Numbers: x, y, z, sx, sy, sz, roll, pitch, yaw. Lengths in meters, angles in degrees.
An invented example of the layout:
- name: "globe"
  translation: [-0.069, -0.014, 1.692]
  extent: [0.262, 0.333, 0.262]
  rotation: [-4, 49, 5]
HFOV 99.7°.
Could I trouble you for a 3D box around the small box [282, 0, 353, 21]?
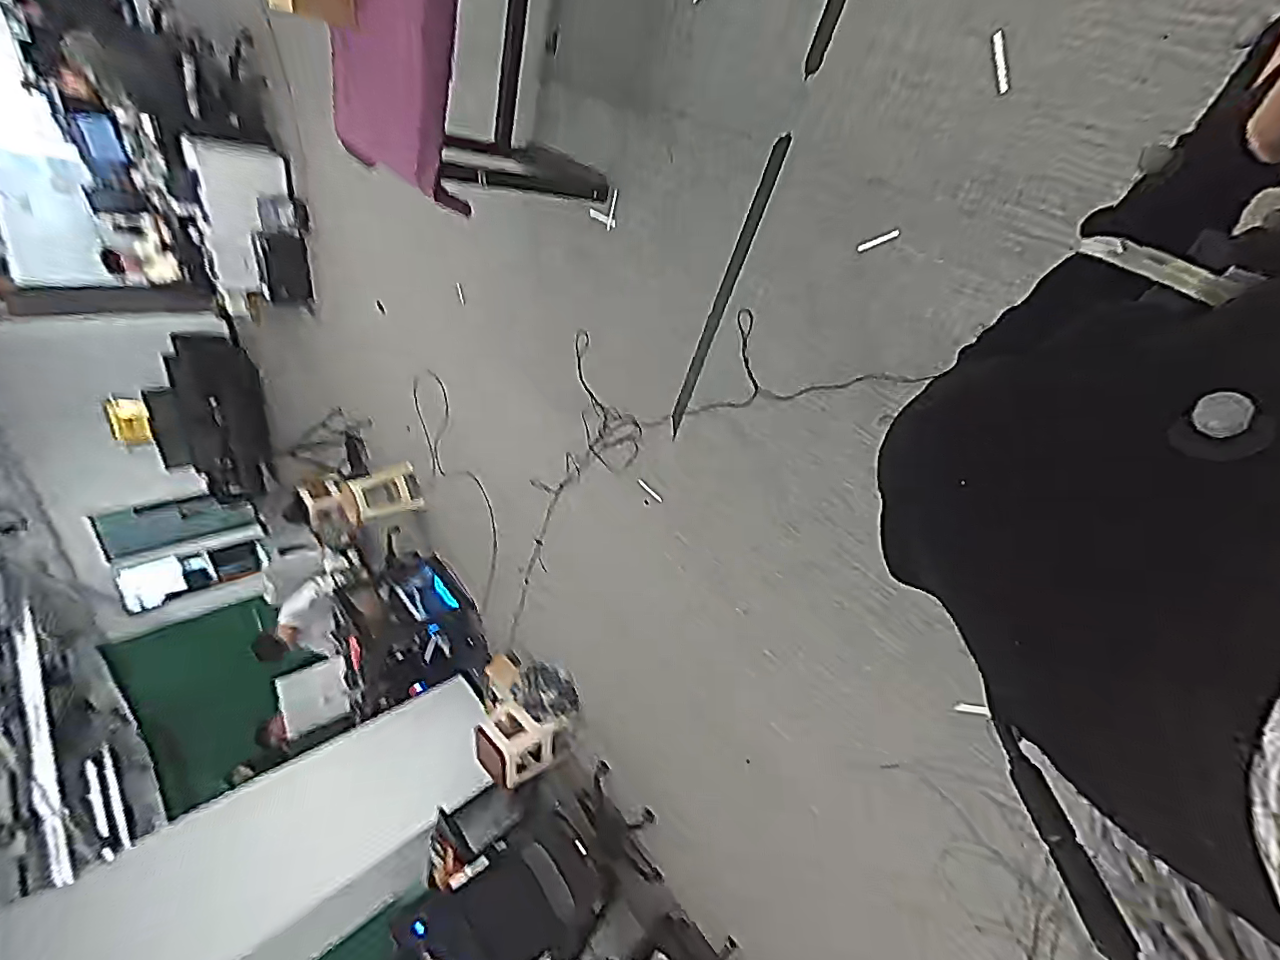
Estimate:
- name: "small box"
  translation: [-0.910, -1.406, 1.496]
  extent: [0.179, 0.176, 0.168]
  rotation: [38, 129, 27]
